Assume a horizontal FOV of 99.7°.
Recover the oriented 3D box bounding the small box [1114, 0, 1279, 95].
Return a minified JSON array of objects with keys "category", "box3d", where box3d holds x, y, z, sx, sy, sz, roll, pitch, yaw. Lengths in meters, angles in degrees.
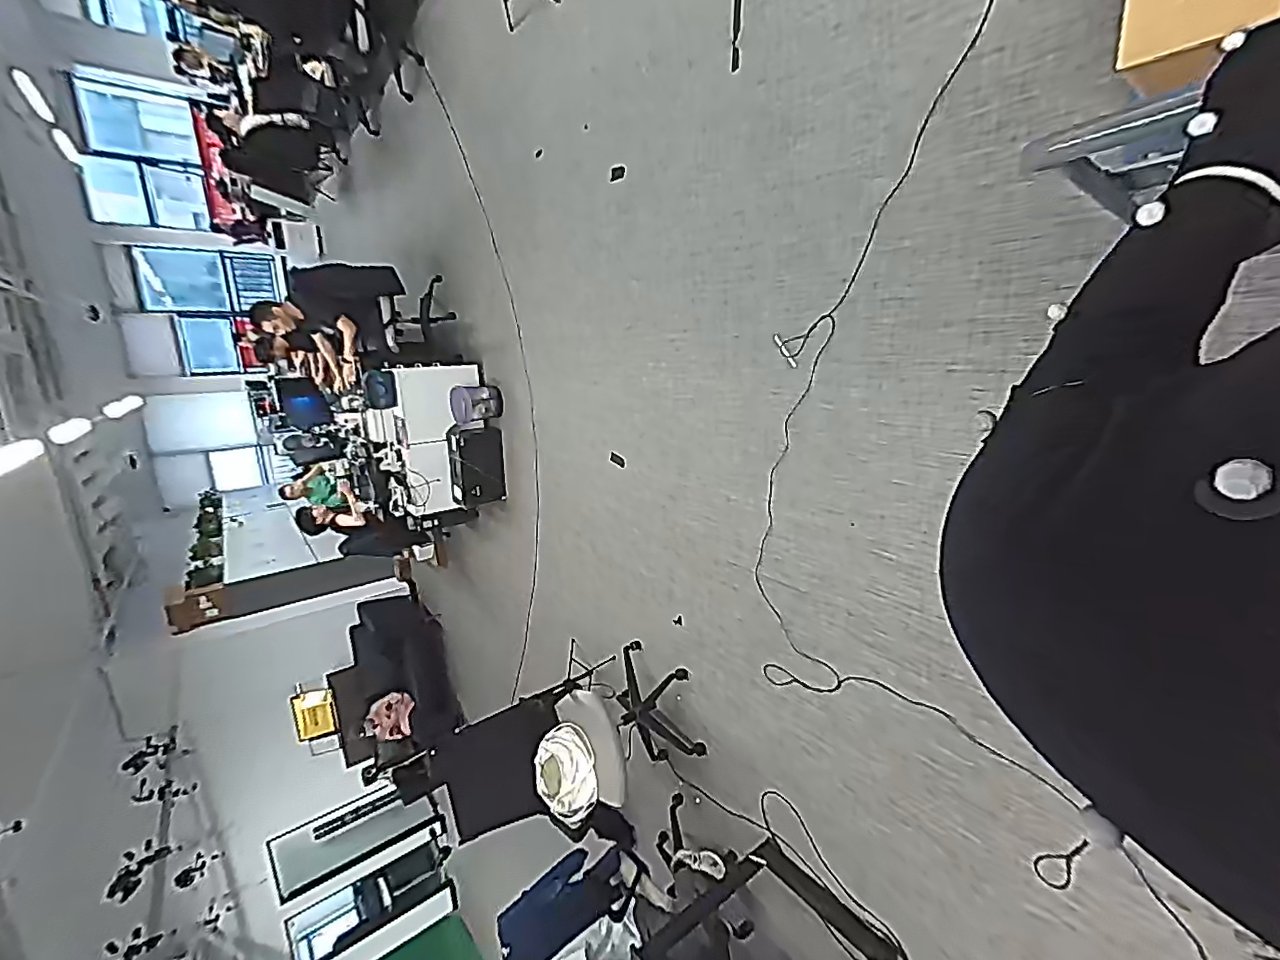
[{"category":"small box","box3d":[0.853,-0.713,0.807,0.179,0.176,0.168,14,110,49]}]
